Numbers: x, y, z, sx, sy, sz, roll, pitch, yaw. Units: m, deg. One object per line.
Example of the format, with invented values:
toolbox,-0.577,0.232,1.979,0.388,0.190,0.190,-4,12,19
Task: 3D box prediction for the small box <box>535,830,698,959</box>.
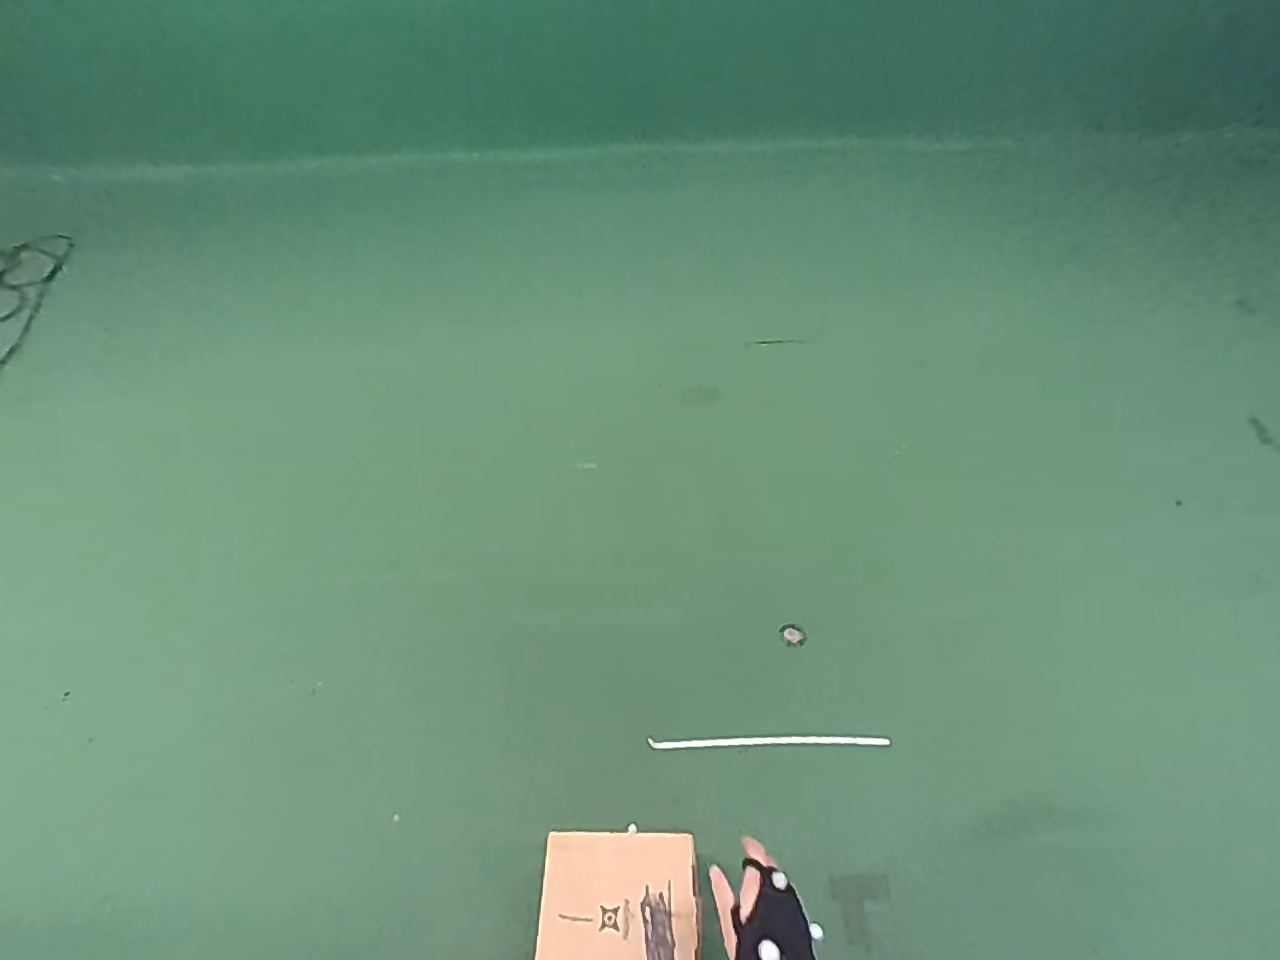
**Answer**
small box,-0.021,0.536,0.658,0.179,0.176,0.168,-1,49,3
